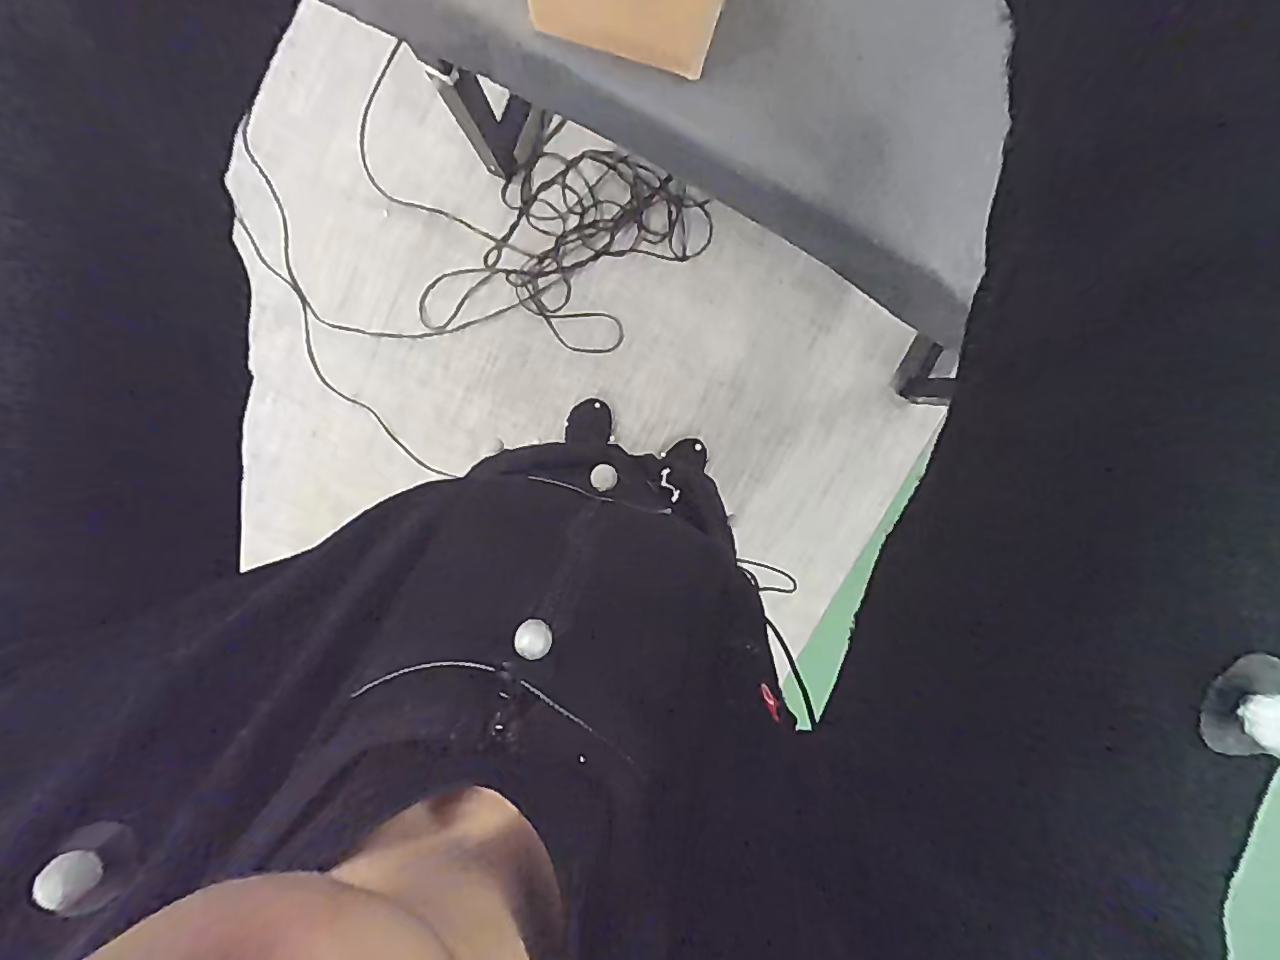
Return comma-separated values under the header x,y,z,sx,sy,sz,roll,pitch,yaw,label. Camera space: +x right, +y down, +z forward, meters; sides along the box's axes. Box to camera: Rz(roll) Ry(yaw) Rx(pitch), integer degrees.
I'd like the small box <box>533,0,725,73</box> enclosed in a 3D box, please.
x,y,z,sx,sy,sz,roll,pitch,yaw,label
0.005,-0.492,0.457,0.179,0.176,0.168,14,99,-5,small box
